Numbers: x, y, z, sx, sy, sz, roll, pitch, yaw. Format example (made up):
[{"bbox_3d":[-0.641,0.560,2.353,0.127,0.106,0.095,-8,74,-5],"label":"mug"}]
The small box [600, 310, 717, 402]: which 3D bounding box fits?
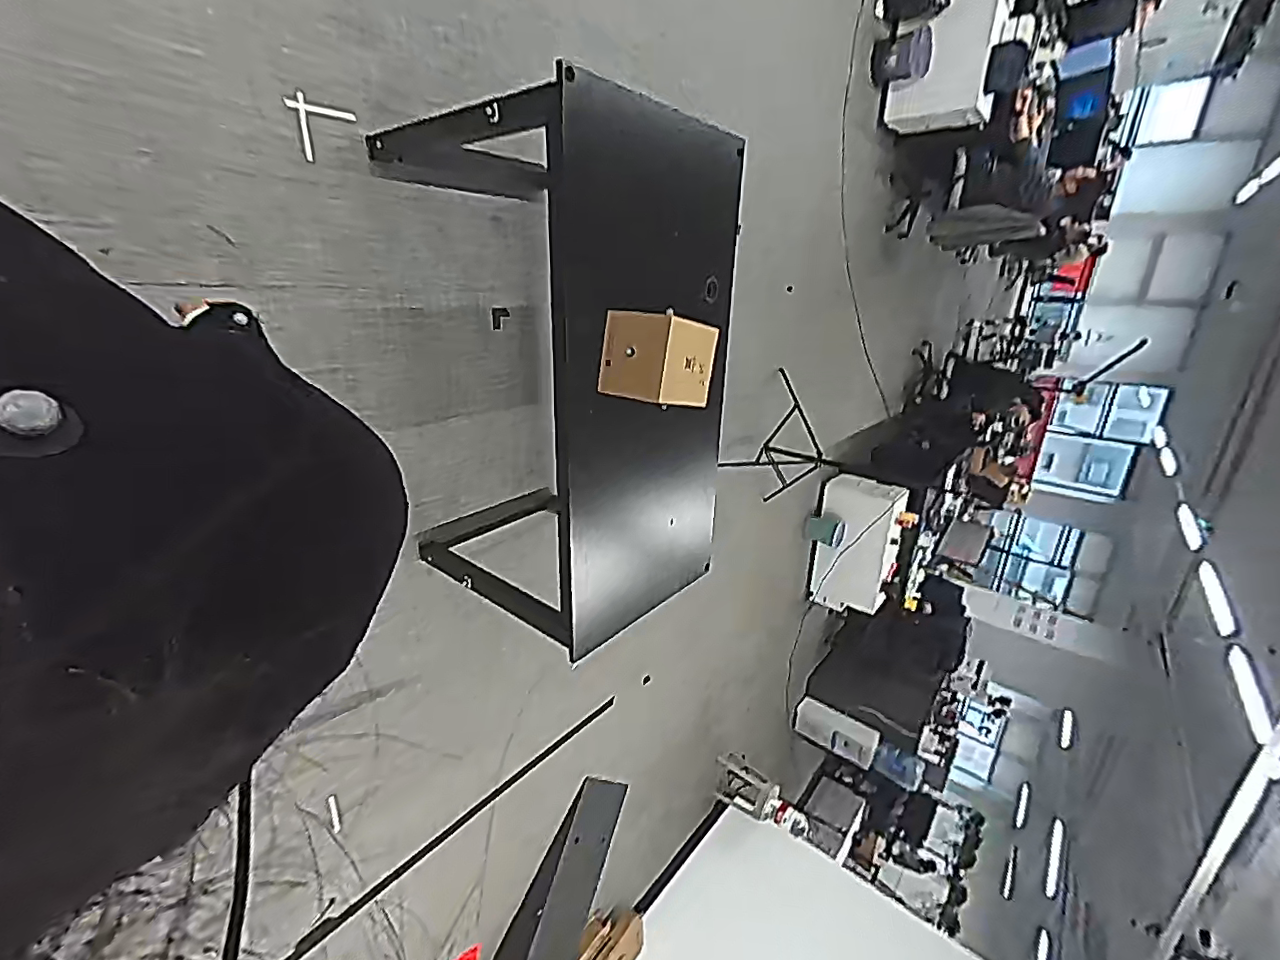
[{"bbox_3d":[0.036,-0.261,1.141,0.179,0.176,0.168,-6,109,-52],"label":"small box"}]
